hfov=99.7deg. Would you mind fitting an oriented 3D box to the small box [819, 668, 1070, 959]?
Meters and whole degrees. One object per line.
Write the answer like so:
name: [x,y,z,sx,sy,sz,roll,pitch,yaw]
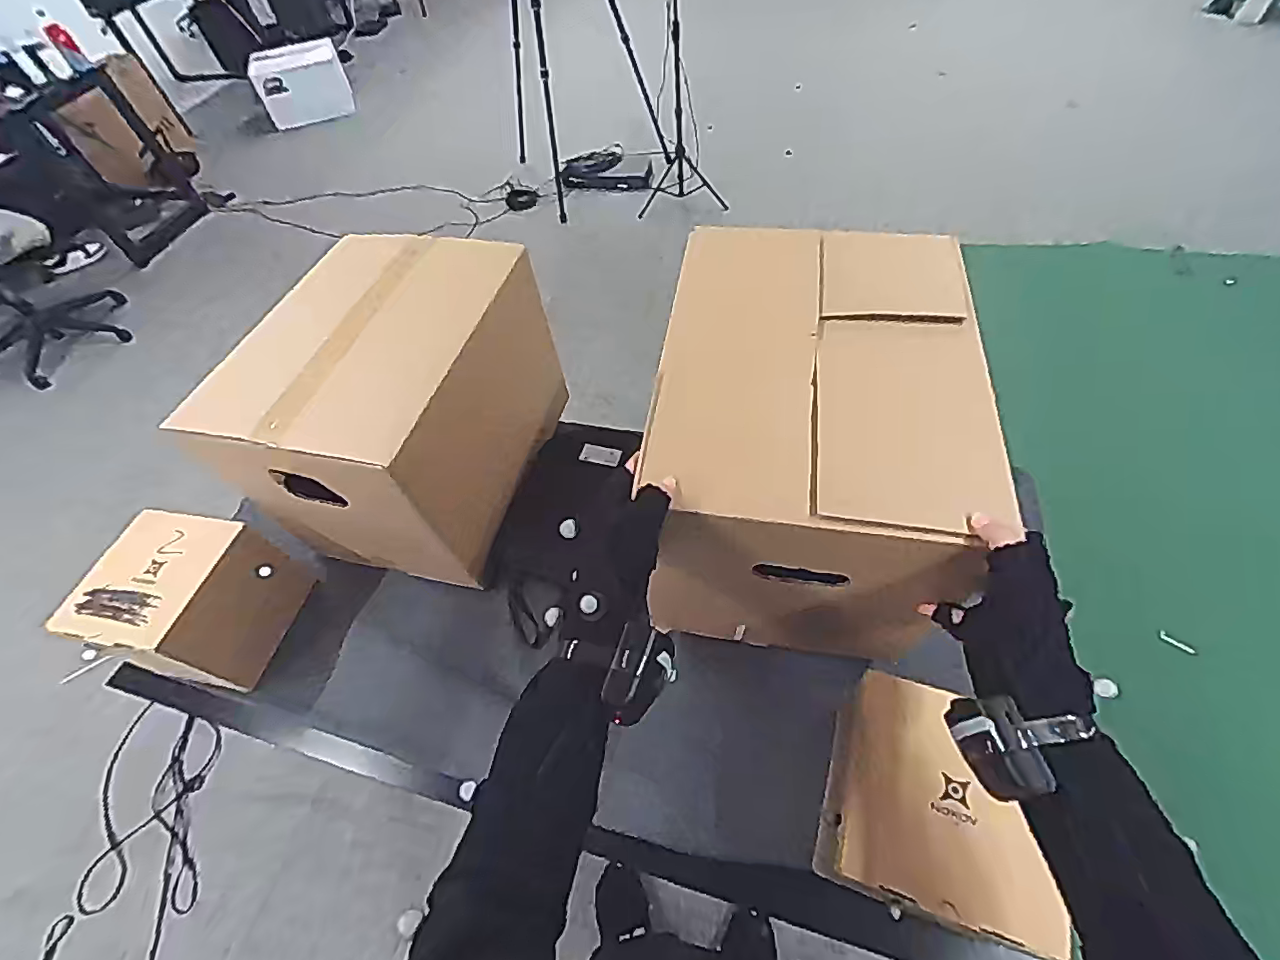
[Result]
small box: [0.281,0.314,0.529,0.168,0.176,0.179,13,60,17]
